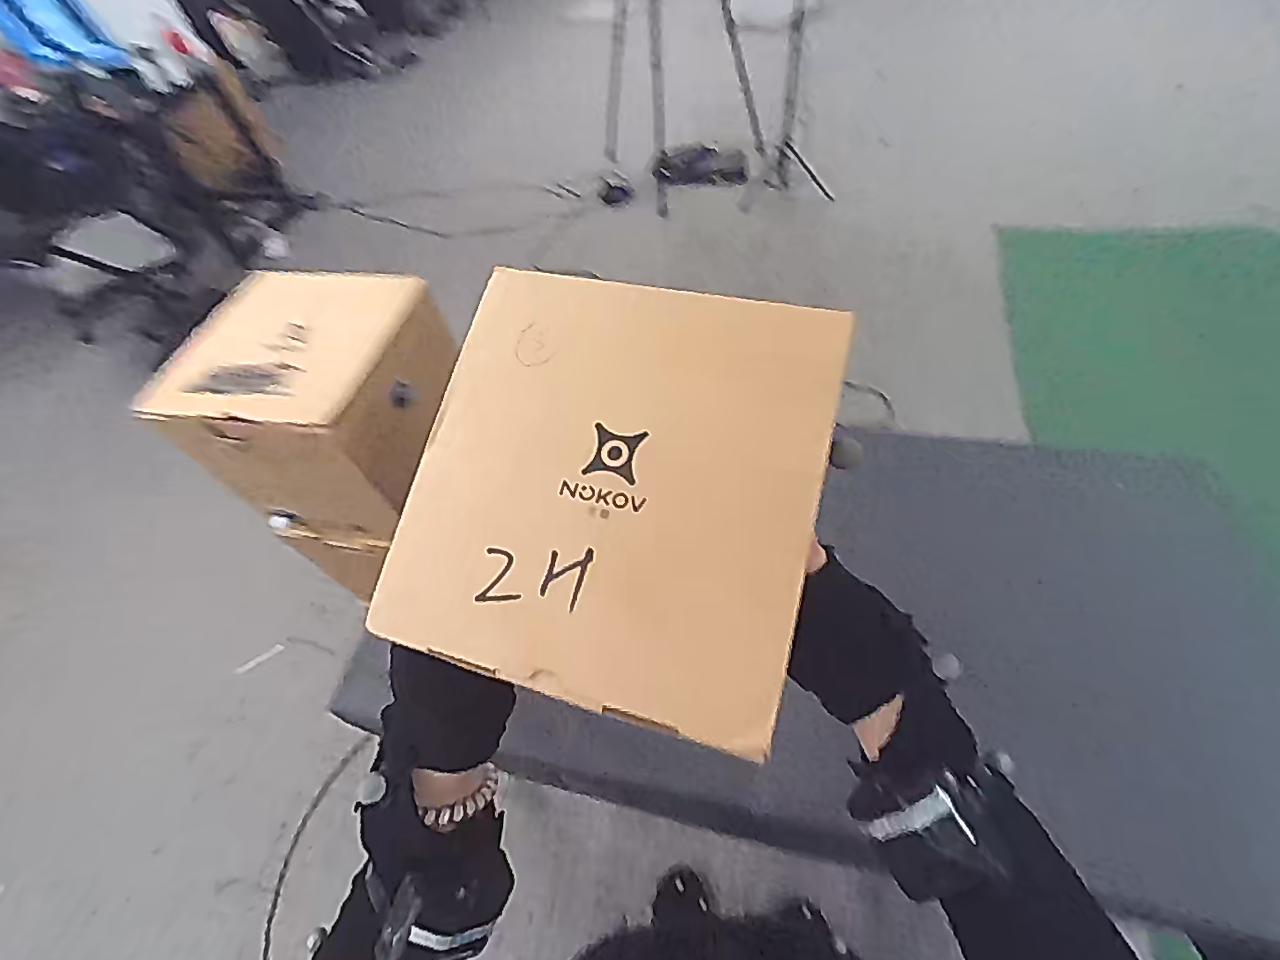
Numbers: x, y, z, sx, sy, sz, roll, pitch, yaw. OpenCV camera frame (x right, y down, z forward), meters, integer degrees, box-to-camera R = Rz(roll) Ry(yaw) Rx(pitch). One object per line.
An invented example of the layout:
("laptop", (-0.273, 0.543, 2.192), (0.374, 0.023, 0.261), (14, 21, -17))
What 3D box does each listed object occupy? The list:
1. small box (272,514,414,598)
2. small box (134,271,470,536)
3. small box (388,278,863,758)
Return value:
("small box", (-0.257, 0.036, 0.622), (0.168, 0.176, 0.179), (6, 55, 11))
("small box", (-0.272, -0.066, 0.494), (0.168, 0.176, 0.179), (5, 55, 9))
("small box", (0.008, 0.022, 0.300), (0.168, 0.176, 0.179), (12, 76, 15))
